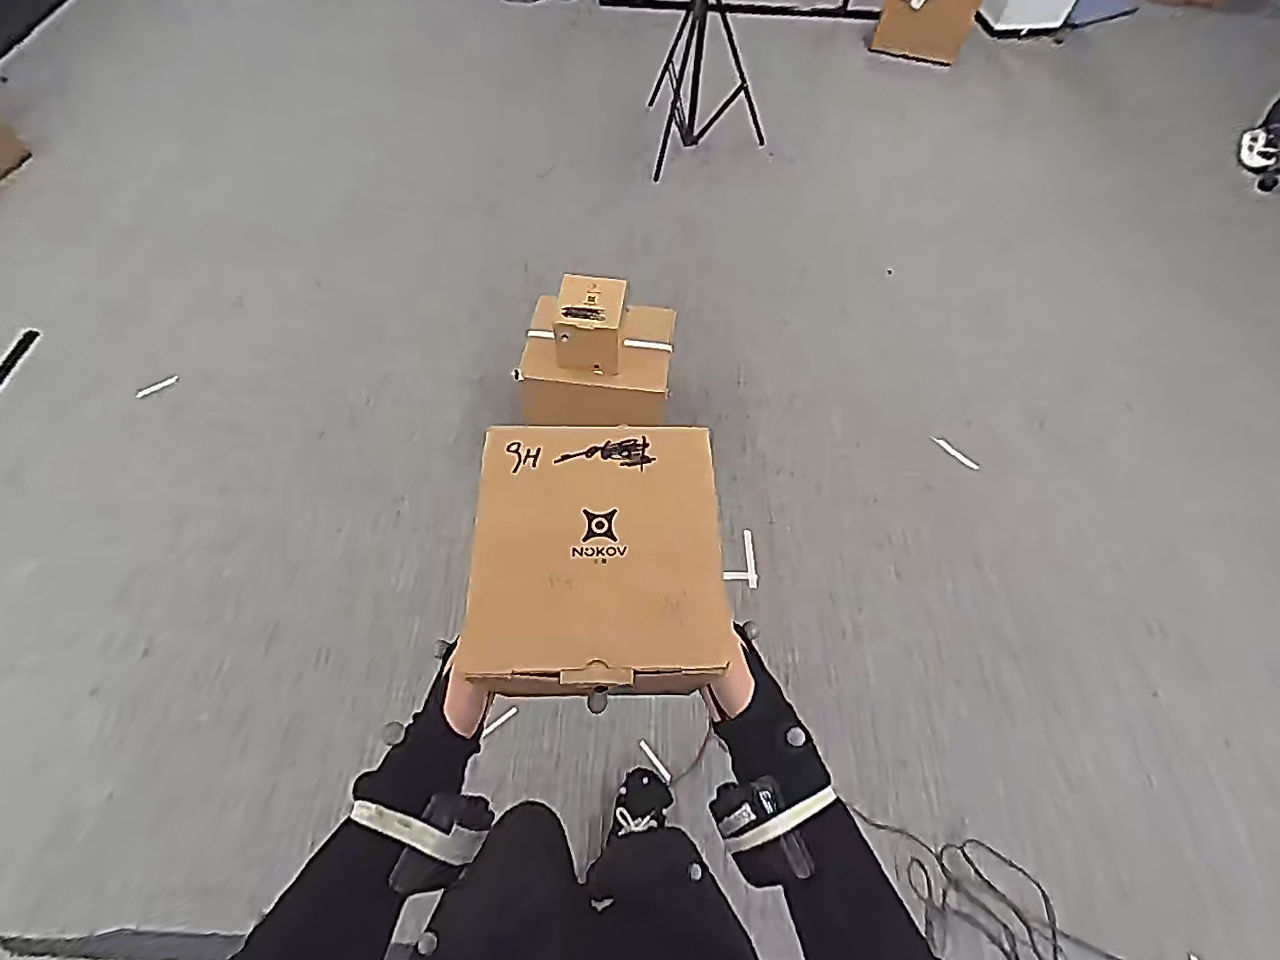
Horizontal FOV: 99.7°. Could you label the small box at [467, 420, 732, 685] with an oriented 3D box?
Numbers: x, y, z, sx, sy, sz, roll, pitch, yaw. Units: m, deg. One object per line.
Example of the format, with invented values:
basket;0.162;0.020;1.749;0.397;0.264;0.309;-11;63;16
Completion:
small box;-0.030;0.069;0.435;0.168;0.176;0.179;0;65;-5
